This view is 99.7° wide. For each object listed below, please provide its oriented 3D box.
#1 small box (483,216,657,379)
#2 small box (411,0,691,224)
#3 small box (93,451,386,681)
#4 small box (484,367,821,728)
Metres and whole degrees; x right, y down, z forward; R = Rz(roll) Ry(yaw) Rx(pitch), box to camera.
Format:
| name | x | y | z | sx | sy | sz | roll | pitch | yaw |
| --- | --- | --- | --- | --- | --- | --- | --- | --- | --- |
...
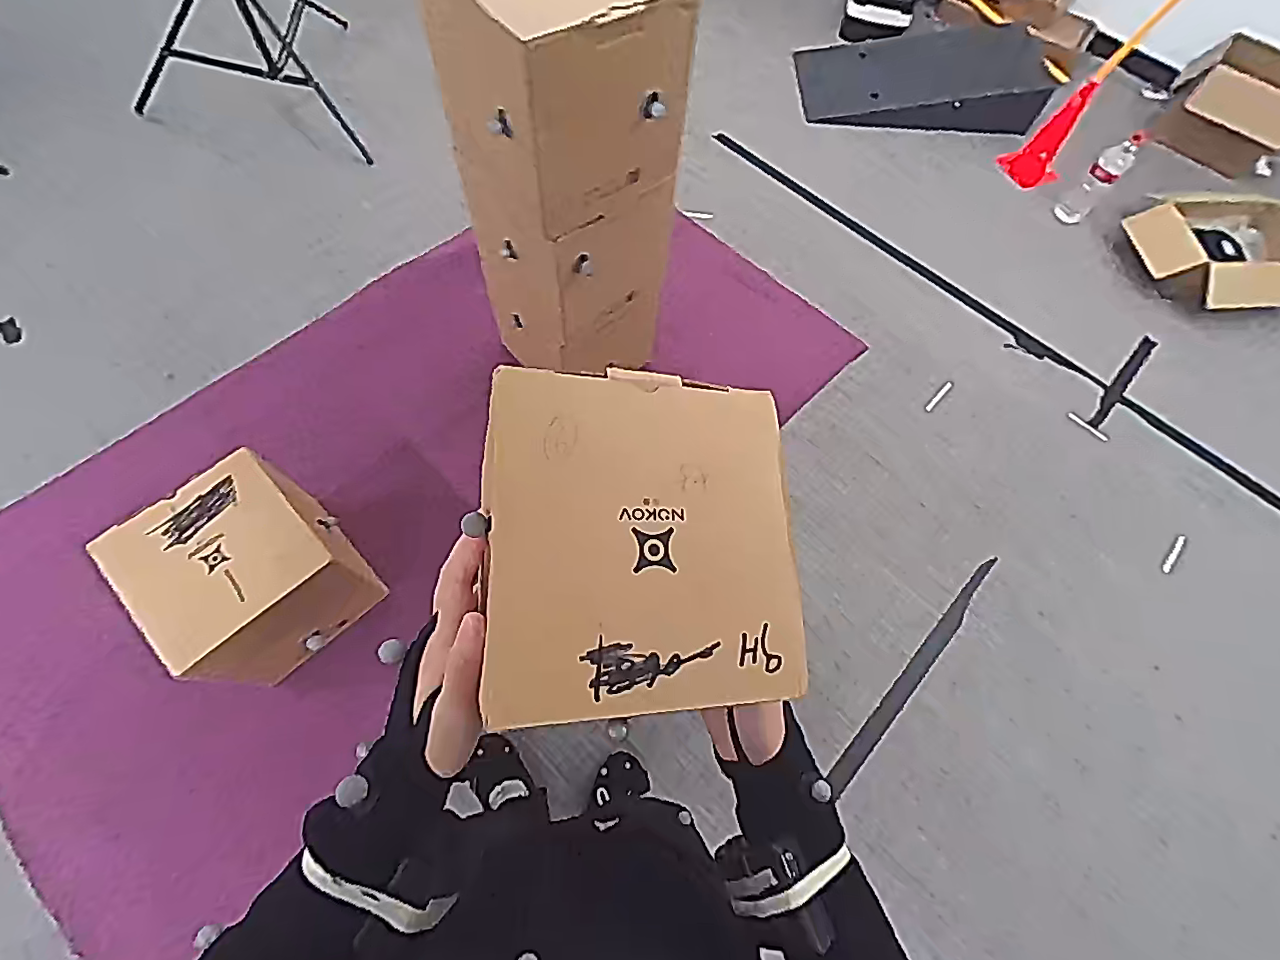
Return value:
| name | x | y | z | sx | sy | sz | roll | pitch | yaw |
| --- | --- | --- | --- | --- | --- | --- | --- | --- | --- |
| small box | -0.098 | -0.237 | 0.784 | 0.168 | 0.176 | 0.179 | -38 | 74 | -17 |
| small box | -0.075 | -0.361 | 0.482 | 0.168 | 0.176 | 0.179 | -35 | 72 | -18 |
| small box | -0.429 | 0.106 | 0.610 | 0.168 | 0.176 | 0.179 | -41 | 76 | -19 |
| small box | -0.012 | 0.050 | 0.351 | 0.168 | 0.176 | 0.179 | 2 | 74 | -17 |
